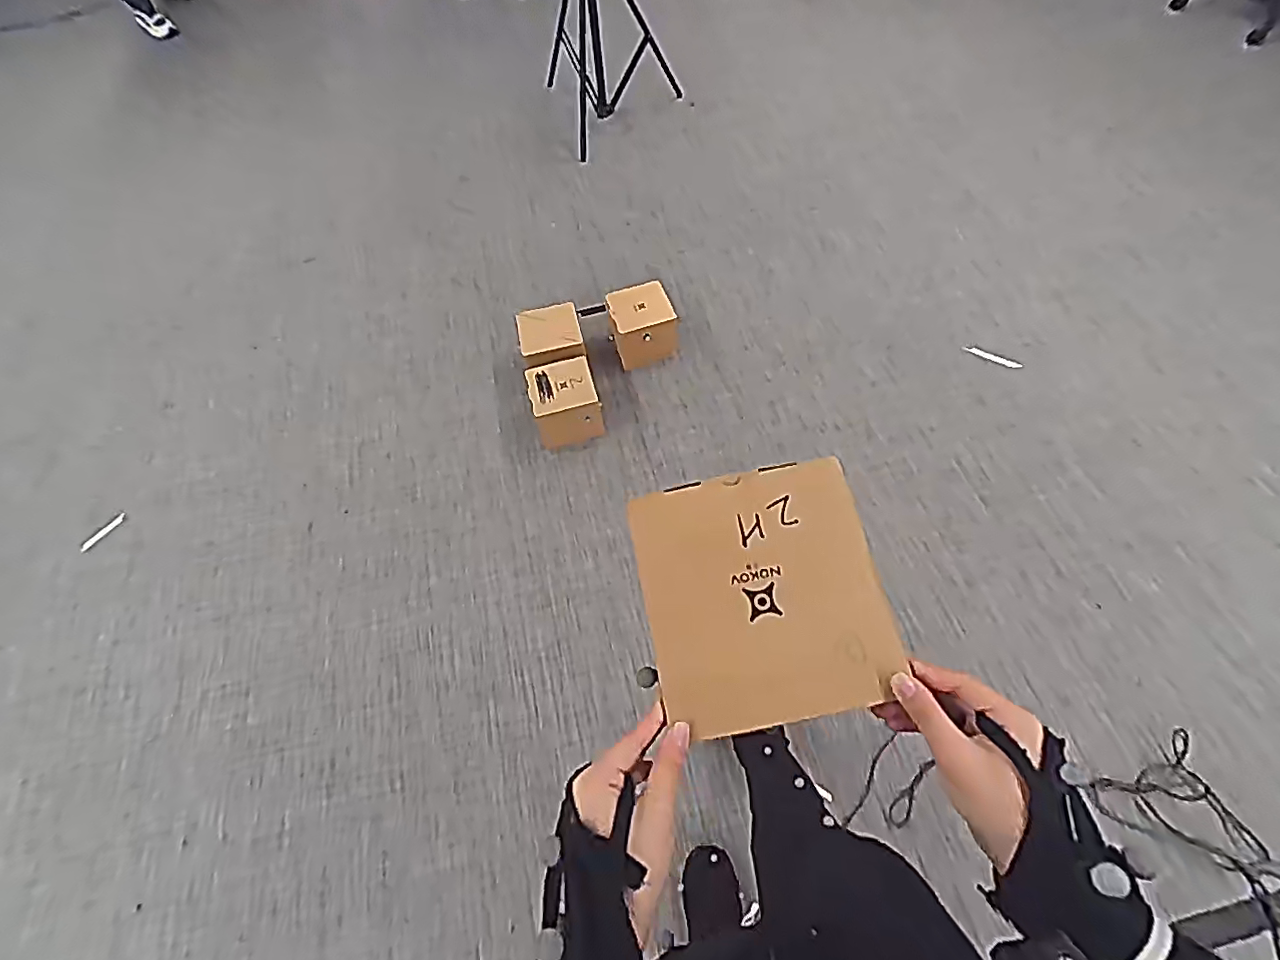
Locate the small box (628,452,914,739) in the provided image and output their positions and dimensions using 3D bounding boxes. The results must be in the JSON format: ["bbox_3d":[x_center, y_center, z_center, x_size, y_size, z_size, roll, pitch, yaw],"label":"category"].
[{"bbox_3d":[0.092,0.099,0.456,0.168,0.176,0.179,-12,70,0],"label":"small box"}]

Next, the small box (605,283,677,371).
[{"bbox_3d":[0.005,-0.462,1.650,0.179,0.176,0.168,-18,63,-5],"label":"small box"}]

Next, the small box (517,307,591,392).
[{"bbox_3d":[-0.256,-0.396,1.625,0.179,0.176,0.168,-13,62,-4],"label":"small box"}]
